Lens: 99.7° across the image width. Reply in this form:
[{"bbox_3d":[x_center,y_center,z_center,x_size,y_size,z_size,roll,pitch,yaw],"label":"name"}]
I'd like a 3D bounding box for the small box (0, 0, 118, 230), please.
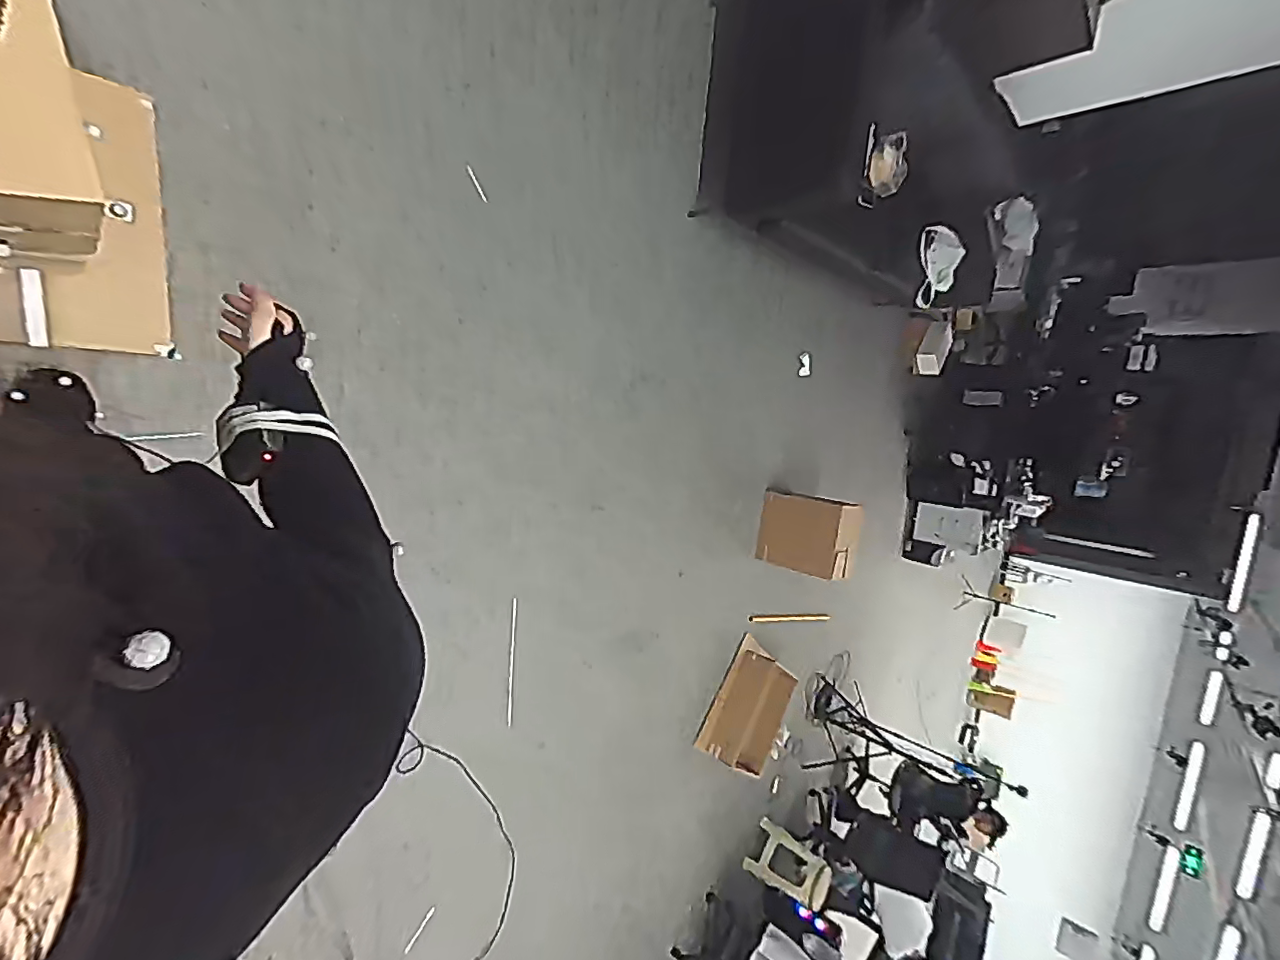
[{"bbox_3d":[-0.599,-0.334,0.476,0.168,0.176,0.179,-17,112,-42],"label":"small box"}]

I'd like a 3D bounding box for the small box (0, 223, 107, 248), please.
[{"bbox_3d":[-0.716,-0.359,0.591,0.168,0.176,0.179,-16,112,-43],"label":"small box"}]
